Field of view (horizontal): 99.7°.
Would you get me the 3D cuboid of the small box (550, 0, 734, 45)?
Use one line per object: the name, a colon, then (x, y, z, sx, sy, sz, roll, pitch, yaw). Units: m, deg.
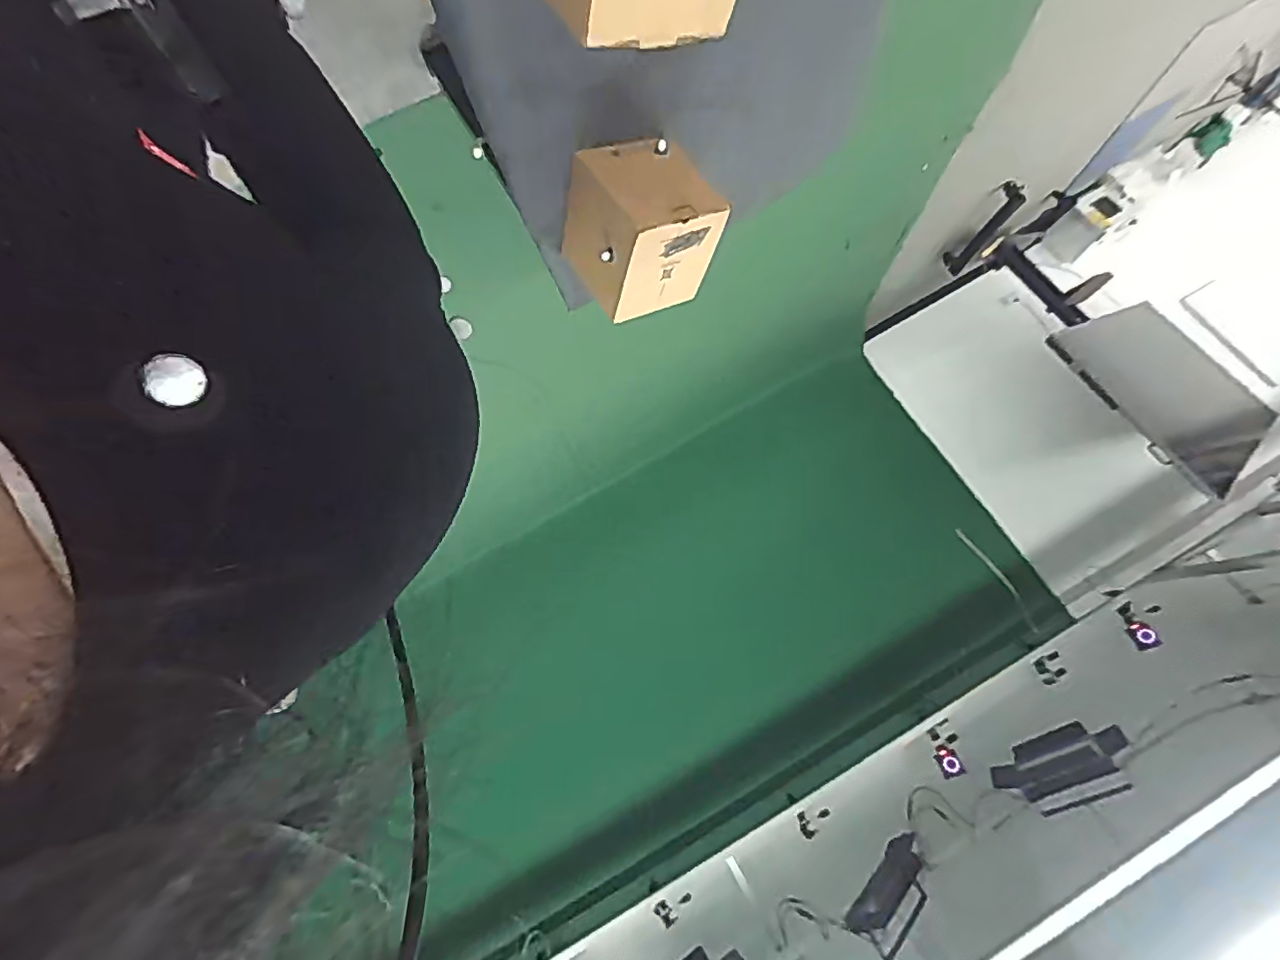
small box: (-0.009, -0.513, 0.450, 0.168, 0.176, 0.179, -27, 162, -24)

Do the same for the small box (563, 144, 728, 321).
small box: (-0.002, -0.381, 0.823, 0.168, 0.176, 0.179, -25, 162, -25)

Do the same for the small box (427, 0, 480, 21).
small box: (-0.358, -1.004, 0.978, 0.179, 0.176, 0.168, -31, 164, 0)
